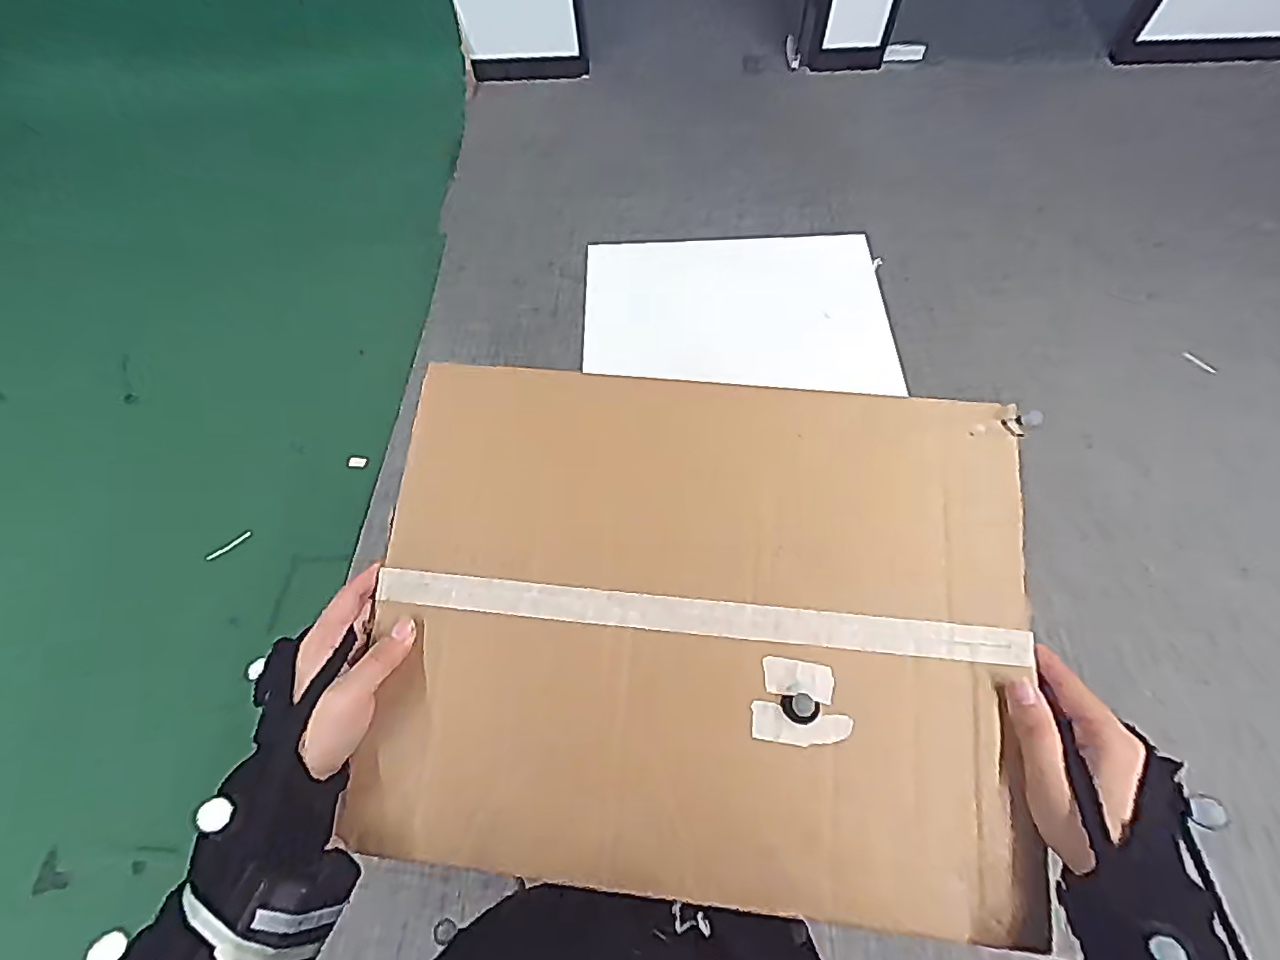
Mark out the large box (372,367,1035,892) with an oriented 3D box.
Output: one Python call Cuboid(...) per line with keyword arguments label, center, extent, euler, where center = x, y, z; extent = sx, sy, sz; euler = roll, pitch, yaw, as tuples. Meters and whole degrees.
Cuboid(label="large box", center=(0.047, 0.113, 0.499), extent=(0.408, 0.320, 0.320), euler=(5, 77, 3))
